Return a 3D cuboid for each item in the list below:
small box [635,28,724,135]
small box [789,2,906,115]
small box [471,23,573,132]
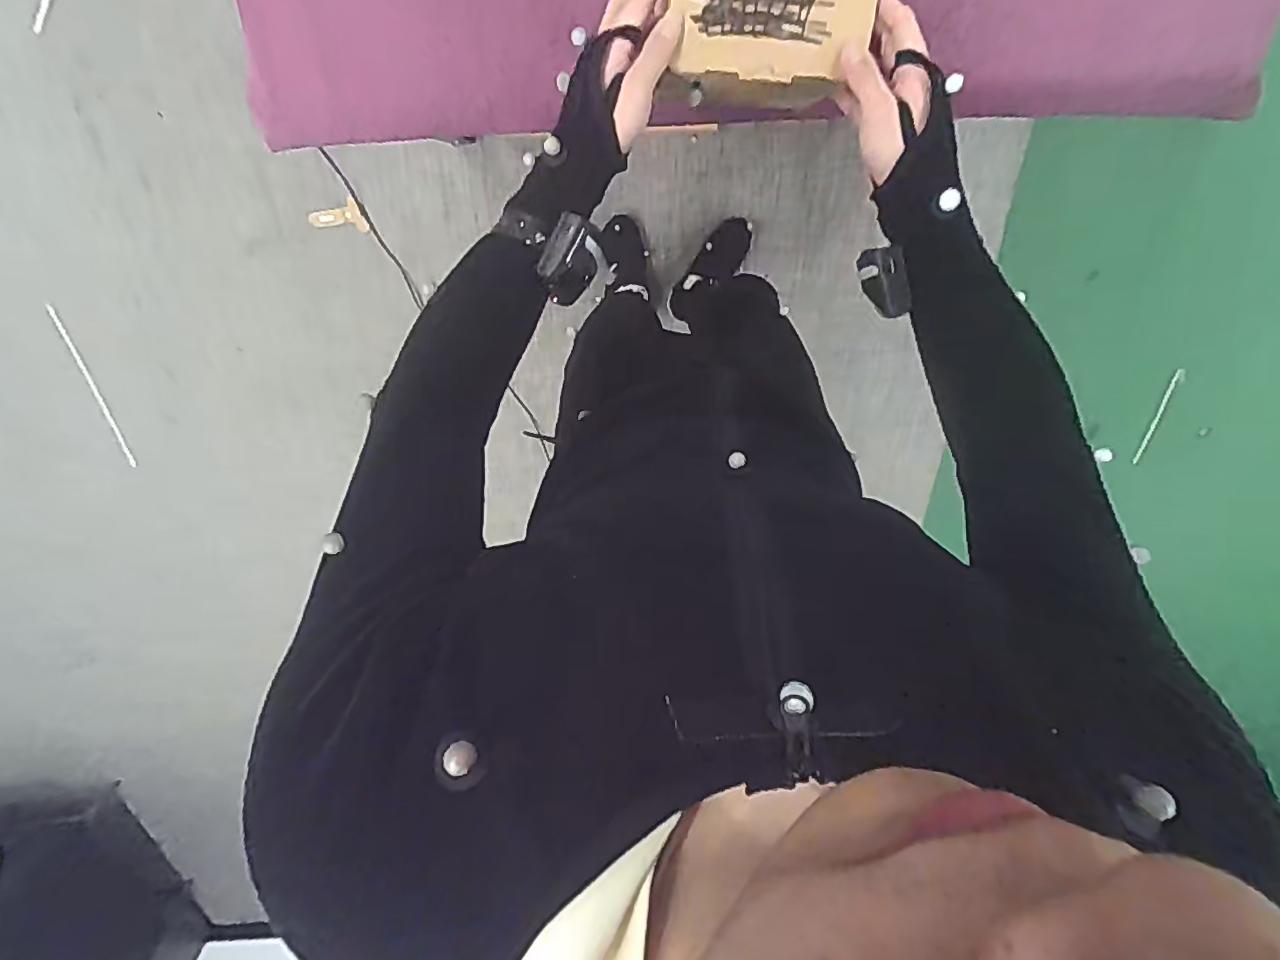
[{"bbox_3d":[0.079,-0.856,1.173,0.179,0.176,0.168,-1,118,0],"label":"small box"},{"bbox_3d":[0.430,-0.893,1.159,0.179,0.176,0.168,1,118,-1],"label":"small box"},{"bbox_3d":[-0.245,-0.858,1.166,0.179,0.176,0.168,-3,118,0],"label":"small box"}]
